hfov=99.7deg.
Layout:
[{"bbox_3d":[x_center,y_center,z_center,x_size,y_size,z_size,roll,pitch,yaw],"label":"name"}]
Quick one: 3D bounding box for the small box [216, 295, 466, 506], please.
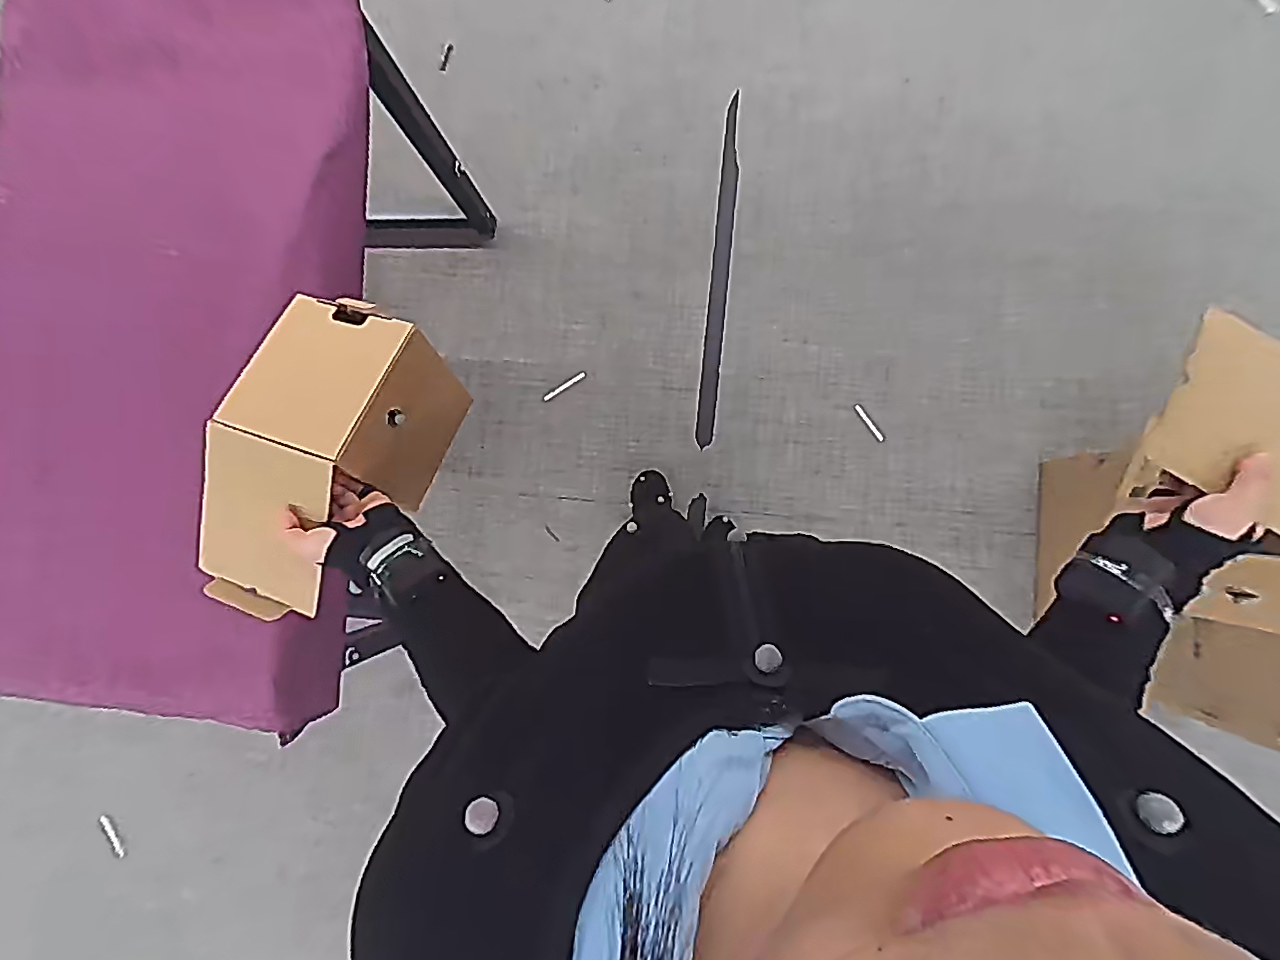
[{"bbox_3d":[-0.341,-0.087,0.658,0.168,0.176,0.179,17,70,13],"label":"small box"}]
